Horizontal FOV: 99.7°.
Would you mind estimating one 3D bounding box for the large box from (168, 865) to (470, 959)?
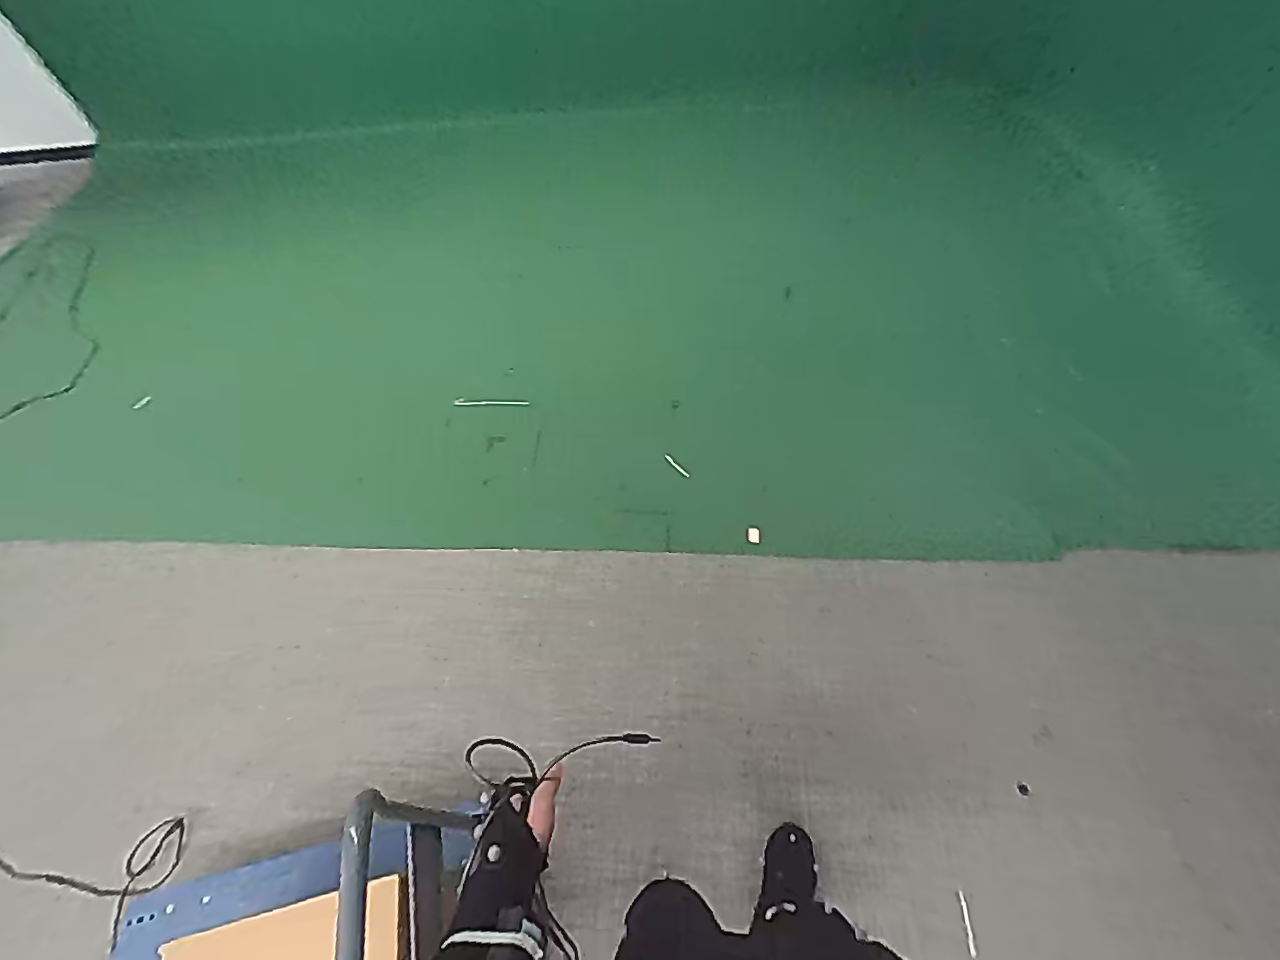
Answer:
[{"bbox_3d":[-0.548,0.933,0.964,0.408,0.320,0.320,-15,56,-2],"label":"large box"}]
